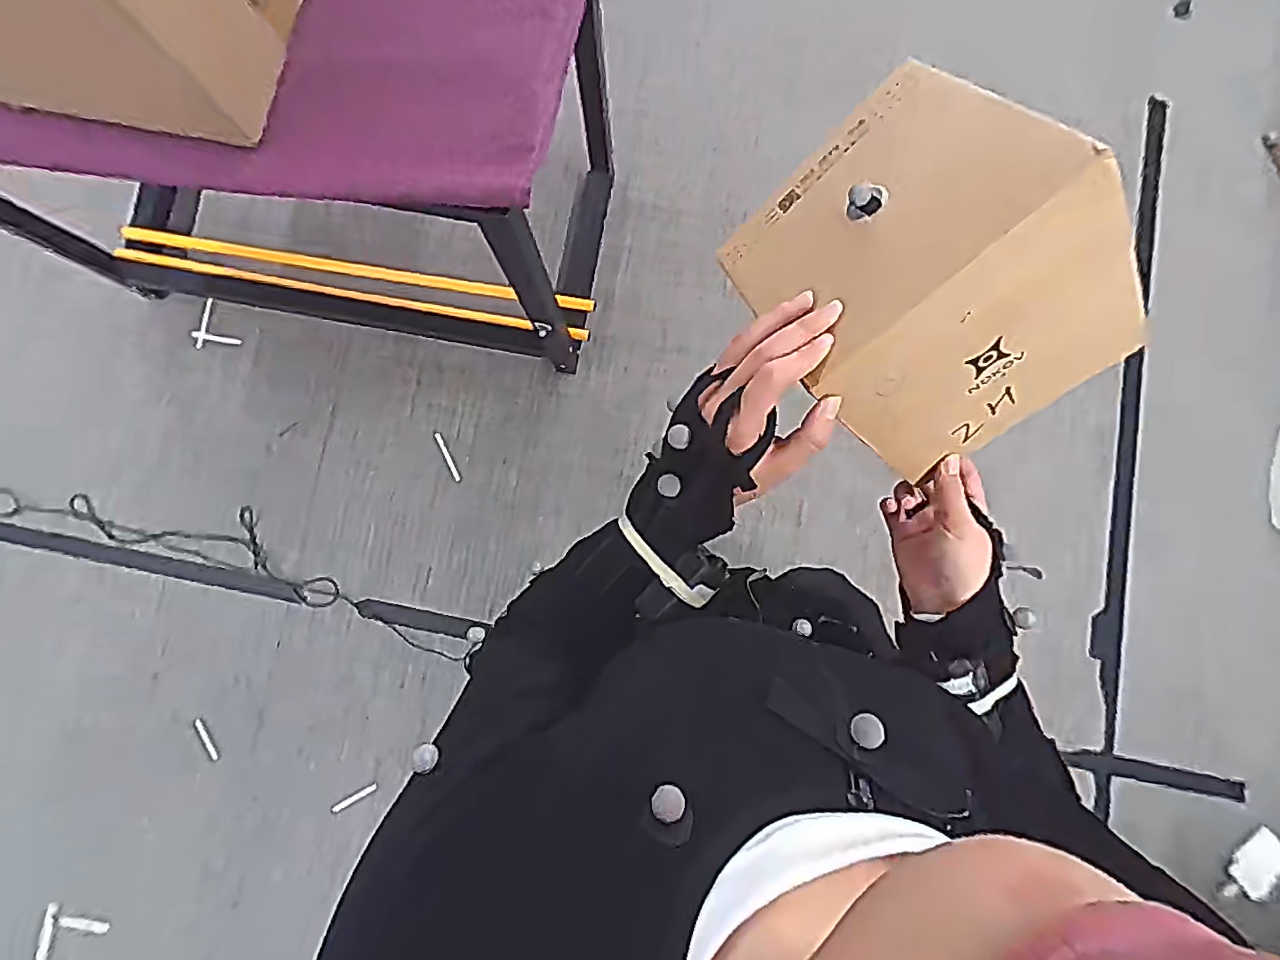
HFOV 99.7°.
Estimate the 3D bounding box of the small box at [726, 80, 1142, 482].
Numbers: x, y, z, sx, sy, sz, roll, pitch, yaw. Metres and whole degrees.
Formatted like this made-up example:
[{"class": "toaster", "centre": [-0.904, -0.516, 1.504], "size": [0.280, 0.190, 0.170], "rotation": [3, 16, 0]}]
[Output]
[{"class": "small box", "centre": [0.188, -0.133, 0.376], "size": [0.168, 0.179, 0.176], "rotation": [-40, 47, 26]}]
